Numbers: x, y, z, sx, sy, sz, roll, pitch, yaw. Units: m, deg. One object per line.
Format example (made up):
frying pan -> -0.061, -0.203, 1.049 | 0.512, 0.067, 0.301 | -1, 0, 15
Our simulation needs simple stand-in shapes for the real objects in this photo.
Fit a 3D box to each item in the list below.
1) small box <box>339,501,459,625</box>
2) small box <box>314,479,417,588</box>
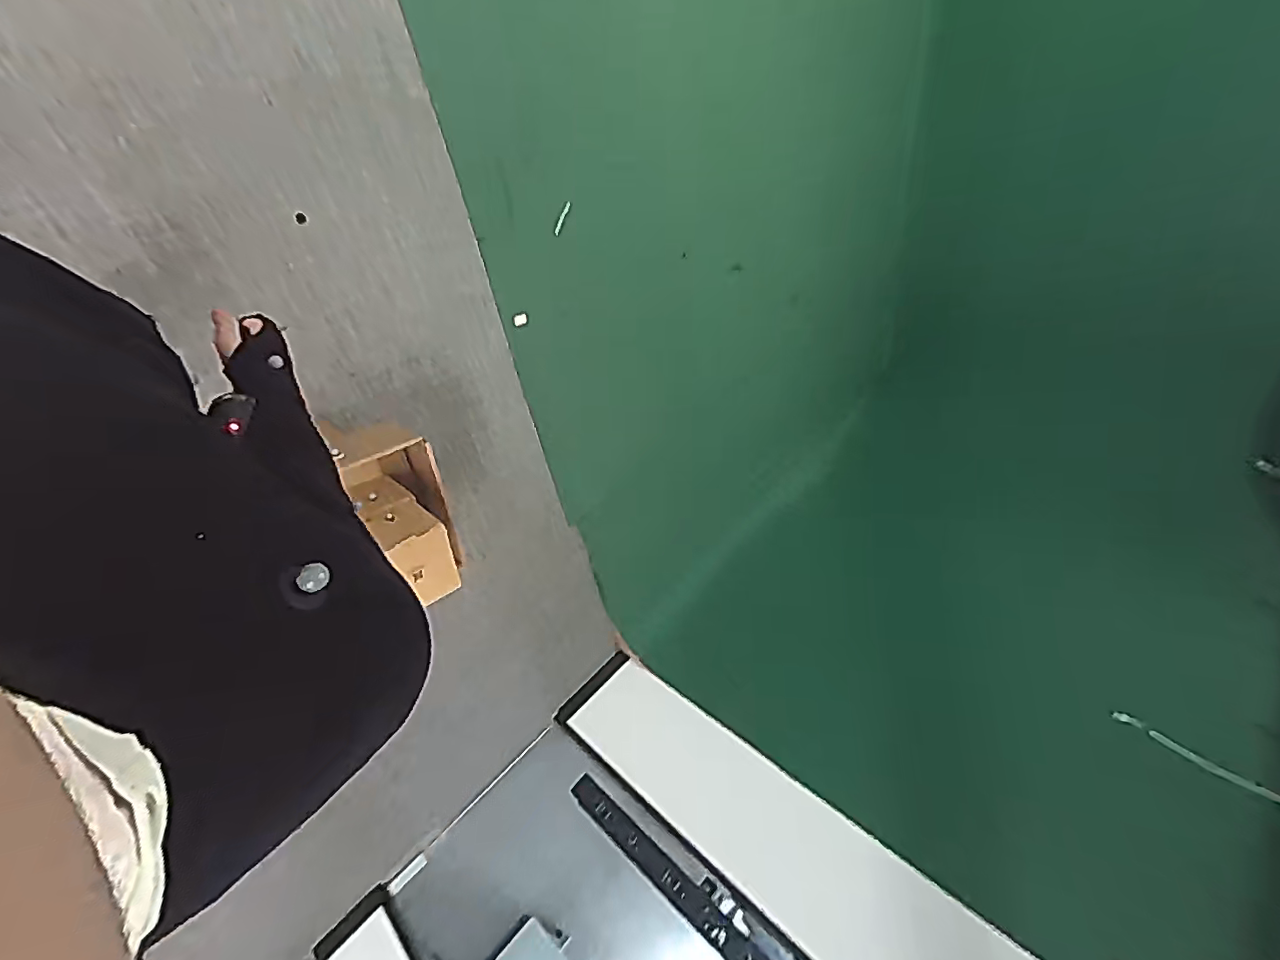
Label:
small box -> -0.524, 0.174, 1.179 | 0.168, 0.176, 0.179 | -28, 127, -35
small box -> -0.636, 0.118, 1.285 | 0.179, 0.176, 0.168 | -27, 127, -36
